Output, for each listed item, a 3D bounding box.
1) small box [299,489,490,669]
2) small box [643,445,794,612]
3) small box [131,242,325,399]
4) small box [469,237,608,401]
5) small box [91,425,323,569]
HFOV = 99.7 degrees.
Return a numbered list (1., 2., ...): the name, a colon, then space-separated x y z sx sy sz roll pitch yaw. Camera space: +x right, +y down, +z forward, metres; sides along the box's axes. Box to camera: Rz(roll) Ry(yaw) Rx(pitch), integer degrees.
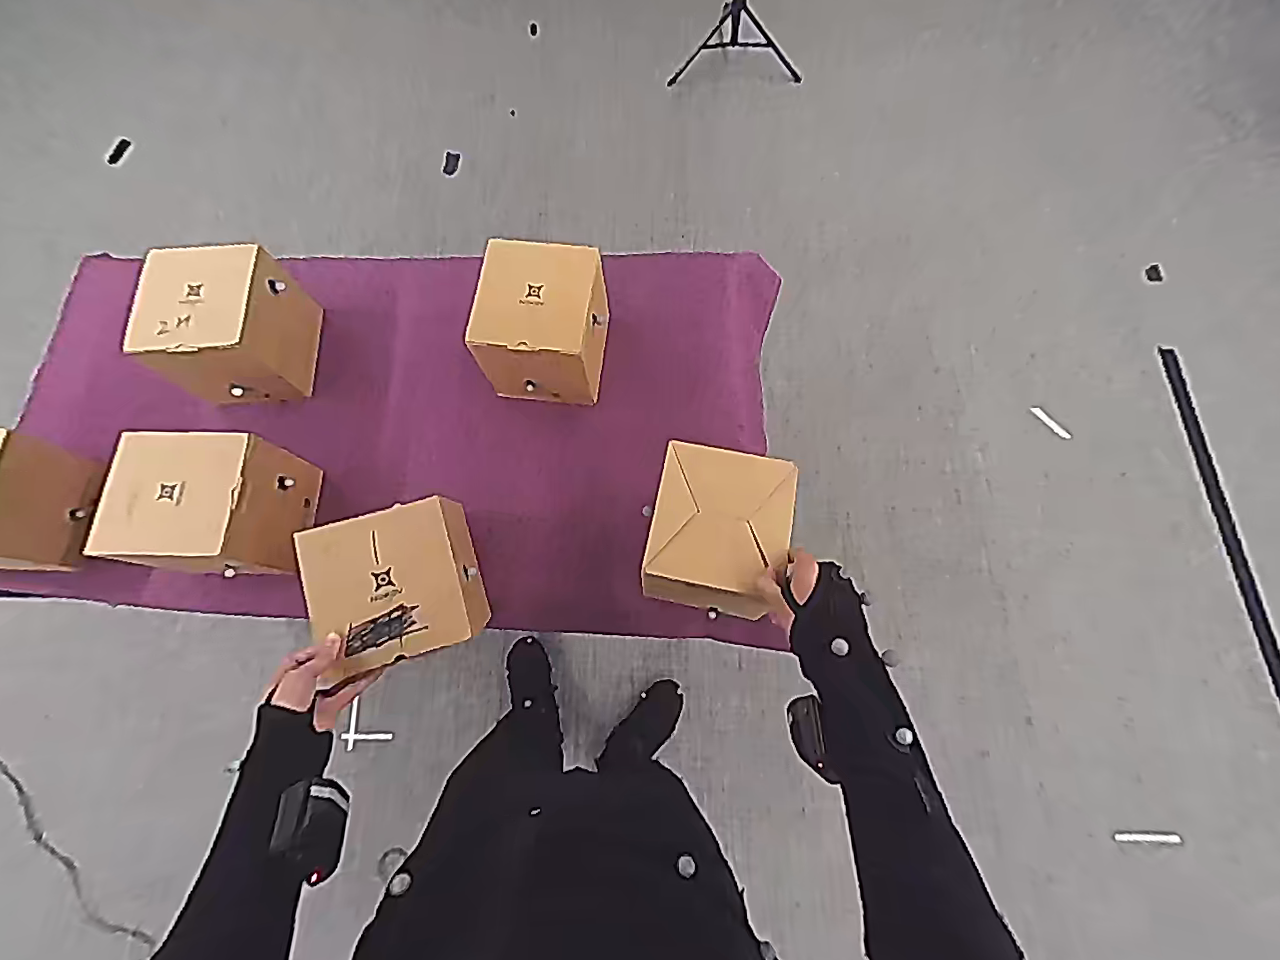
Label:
1. small box: -0.304 0.120 0.706 0.168 0.176 0.179 -15 86 -11
2. small box: 0.100 0.065 0.724 0.168 0.176 0.179 11 69 6
3. small box: -0.633 -0.245 0.857 0.168 0.176 0.179 -3 73 1
4. small box: -0.145 -0.244 0.843 0.168 0.176 0.179 6 74 4
5. small box: -0.589 0.031 0.766 0.179 0.176 0.168 1 72 1
